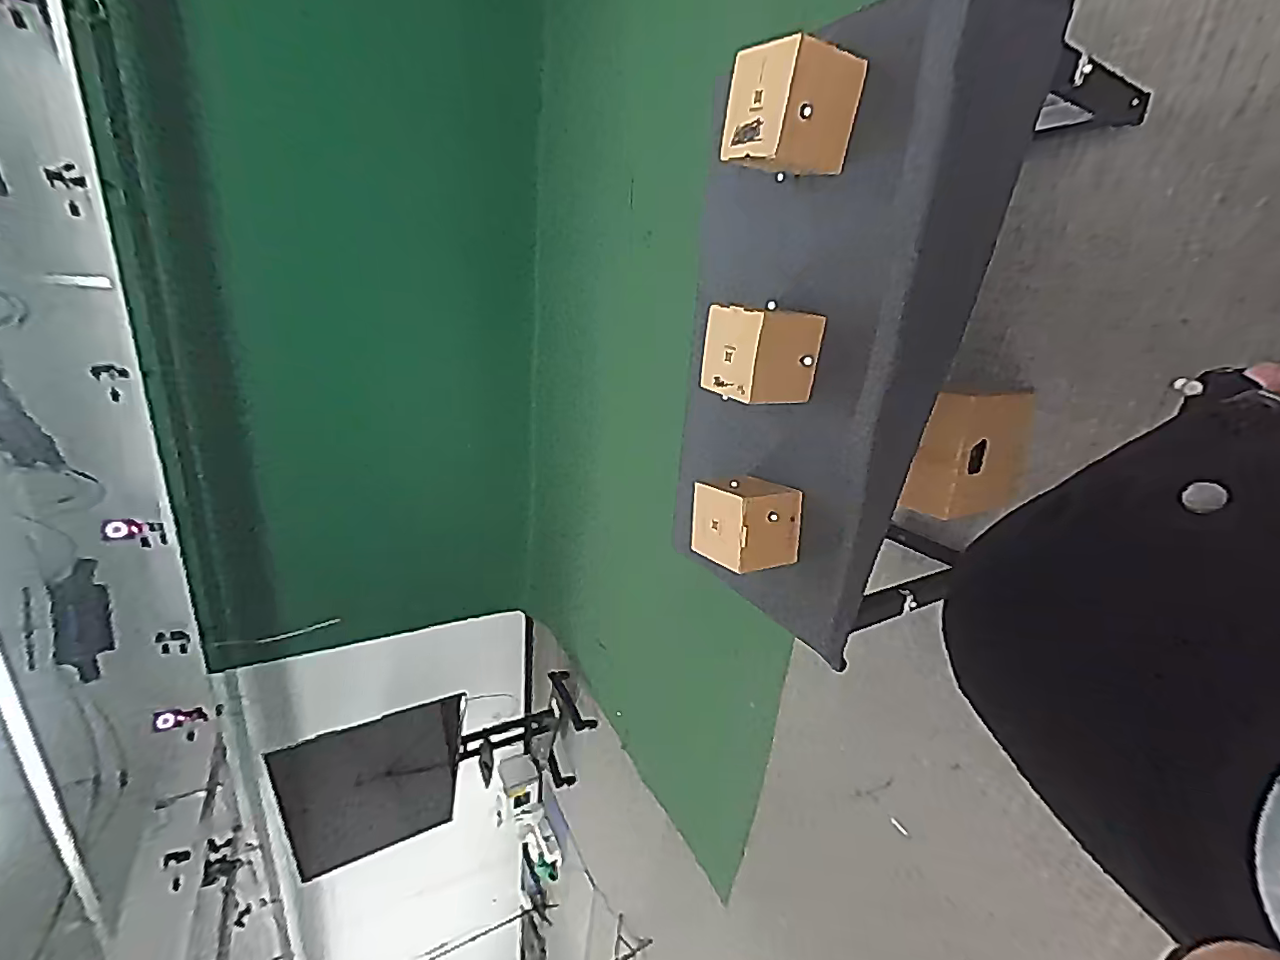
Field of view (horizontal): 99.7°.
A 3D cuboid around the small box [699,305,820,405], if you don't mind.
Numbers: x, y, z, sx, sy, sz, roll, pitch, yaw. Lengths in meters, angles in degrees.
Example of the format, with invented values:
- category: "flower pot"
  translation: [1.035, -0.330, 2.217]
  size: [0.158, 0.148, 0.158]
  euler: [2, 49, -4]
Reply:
- category: "small box"
  translation: [0.250, -0.262, 1.132]
  size: [0.168, 0.176, 0.179]
  euler: [36, 125, 53]

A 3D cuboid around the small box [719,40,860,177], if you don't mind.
- category: "small box"
  translation: [0.275, -0.674, 1.004]
  size: [0.168, 0.176, 0.179]
  euler: [41, 129, 50]

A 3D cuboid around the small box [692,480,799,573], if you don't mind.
- category: "small box"
  translation: [0.237, 0.096, 1.224]
  size: [0.179, 0.176, 0.168]
  euler: [21, 112, 60]
